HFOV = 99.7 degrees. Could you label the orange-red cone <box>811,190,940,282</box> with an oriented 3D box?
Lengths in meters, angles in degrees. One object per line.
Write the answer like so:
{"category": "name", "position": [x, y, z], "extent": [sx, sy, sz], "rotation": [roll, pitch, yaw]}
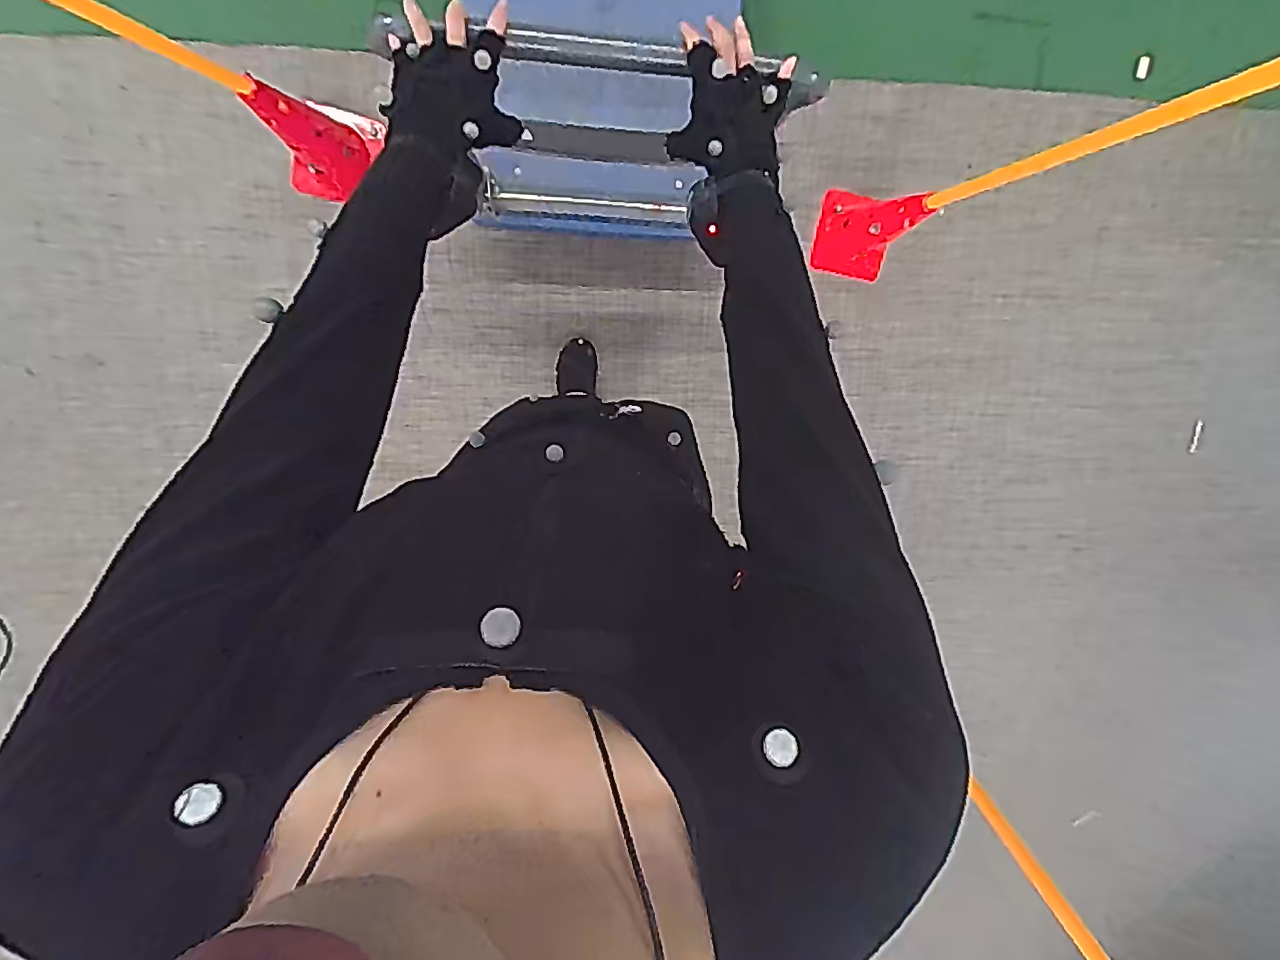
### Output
{"category": "orange-red cone", "position": [0.574, -0.596, 1.252], "extent": [0.198, 0.360, 0.199], "rotation": [11, 103, -7]}
